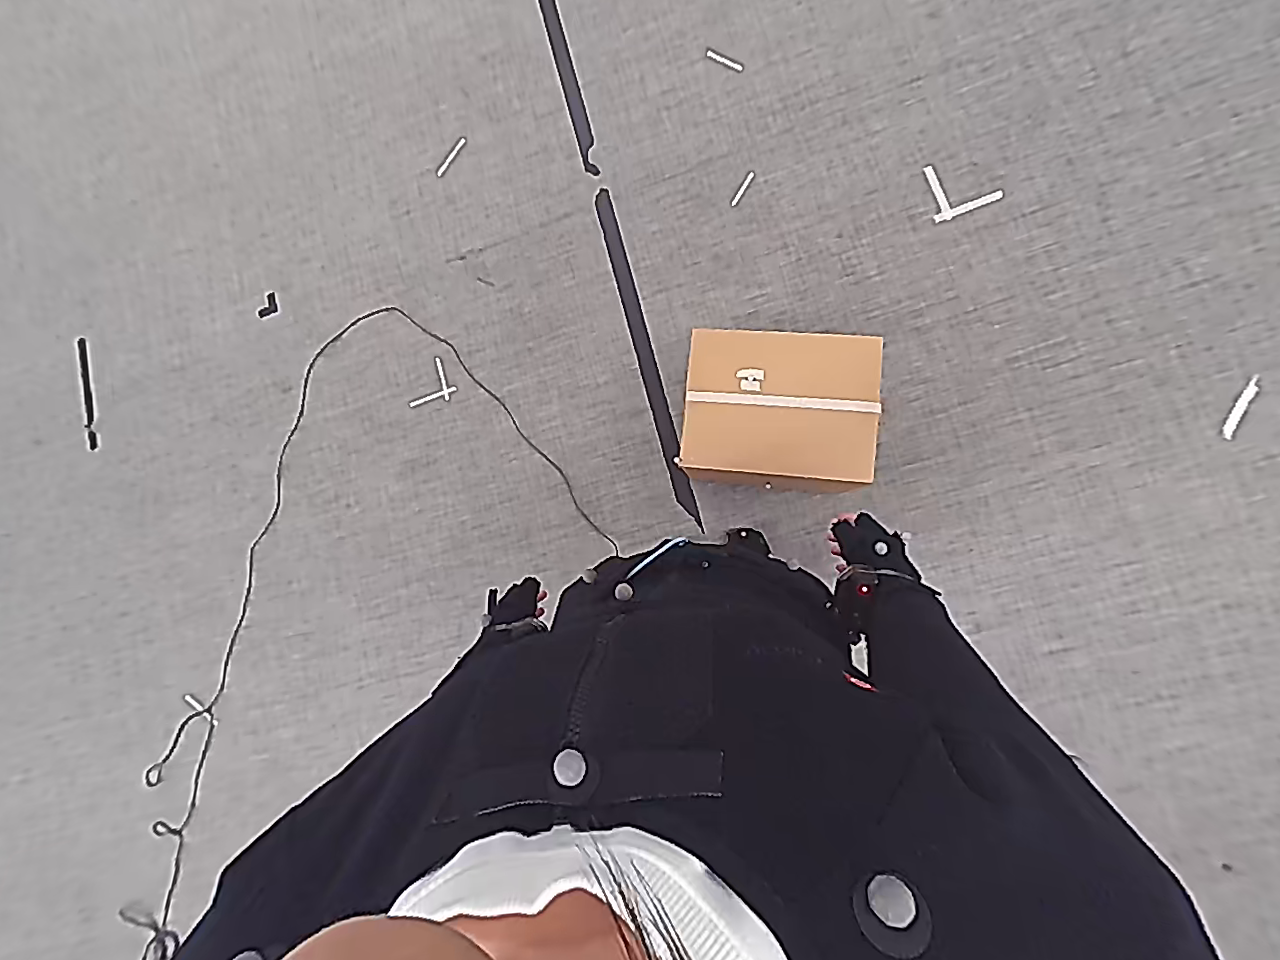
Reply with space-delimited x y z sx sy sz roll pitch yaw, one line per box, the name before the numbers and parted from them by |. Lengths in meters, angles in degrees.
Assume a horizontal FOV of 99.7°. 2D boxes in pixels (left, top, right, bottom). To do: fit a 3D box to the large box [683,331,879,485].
large box | 0.331 -0.159 1.316 0.408 0.320 0.320 5 85 11
